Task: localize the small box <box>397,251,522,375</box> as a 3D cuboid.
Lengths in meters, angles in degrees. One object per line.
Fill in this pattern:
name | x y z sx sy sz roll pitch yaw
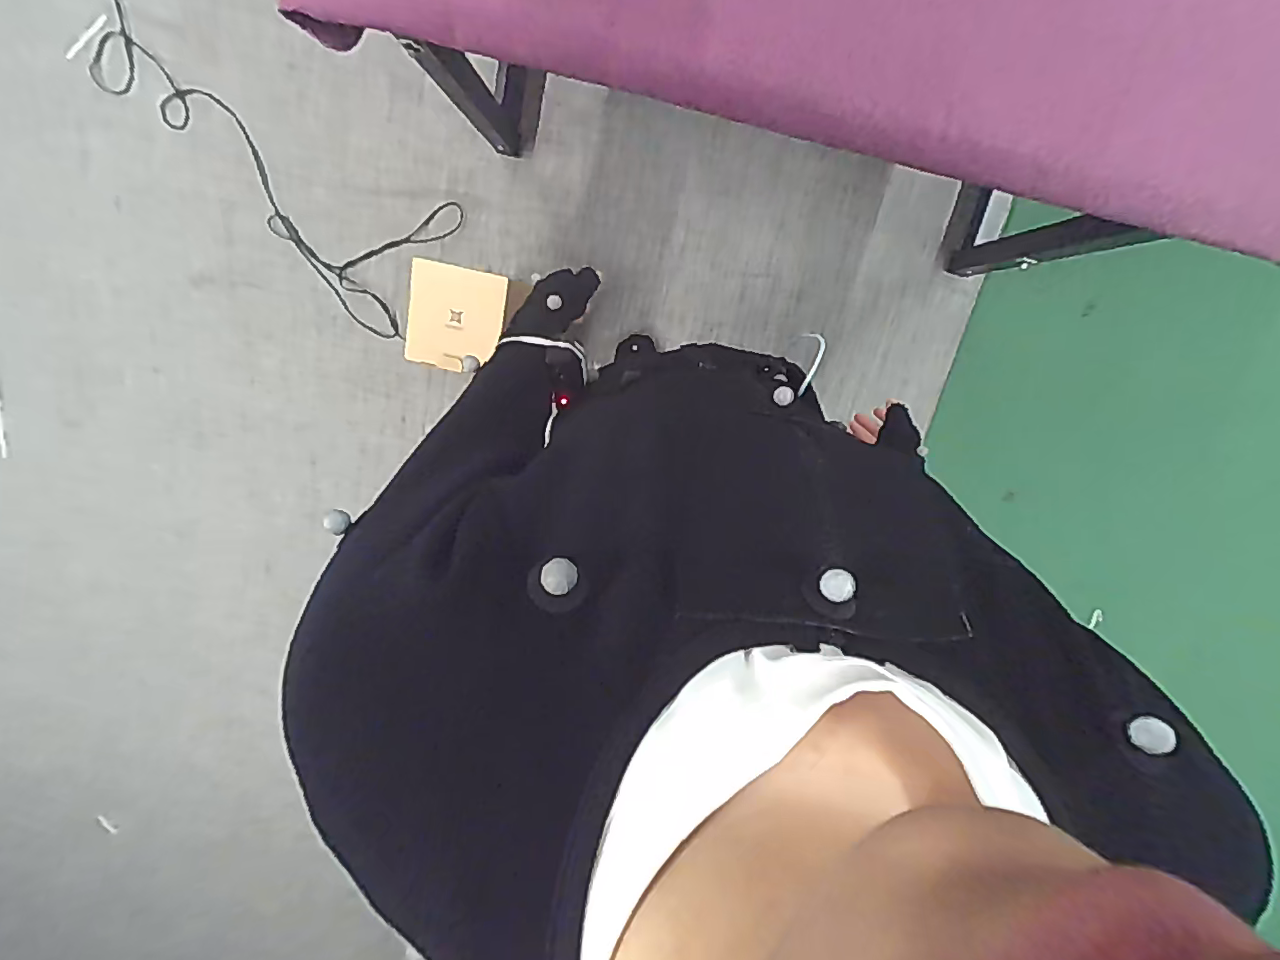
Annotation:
small box | -0.325 -0.307 1.001 0.168 0.176 0.179 13 108 -2
